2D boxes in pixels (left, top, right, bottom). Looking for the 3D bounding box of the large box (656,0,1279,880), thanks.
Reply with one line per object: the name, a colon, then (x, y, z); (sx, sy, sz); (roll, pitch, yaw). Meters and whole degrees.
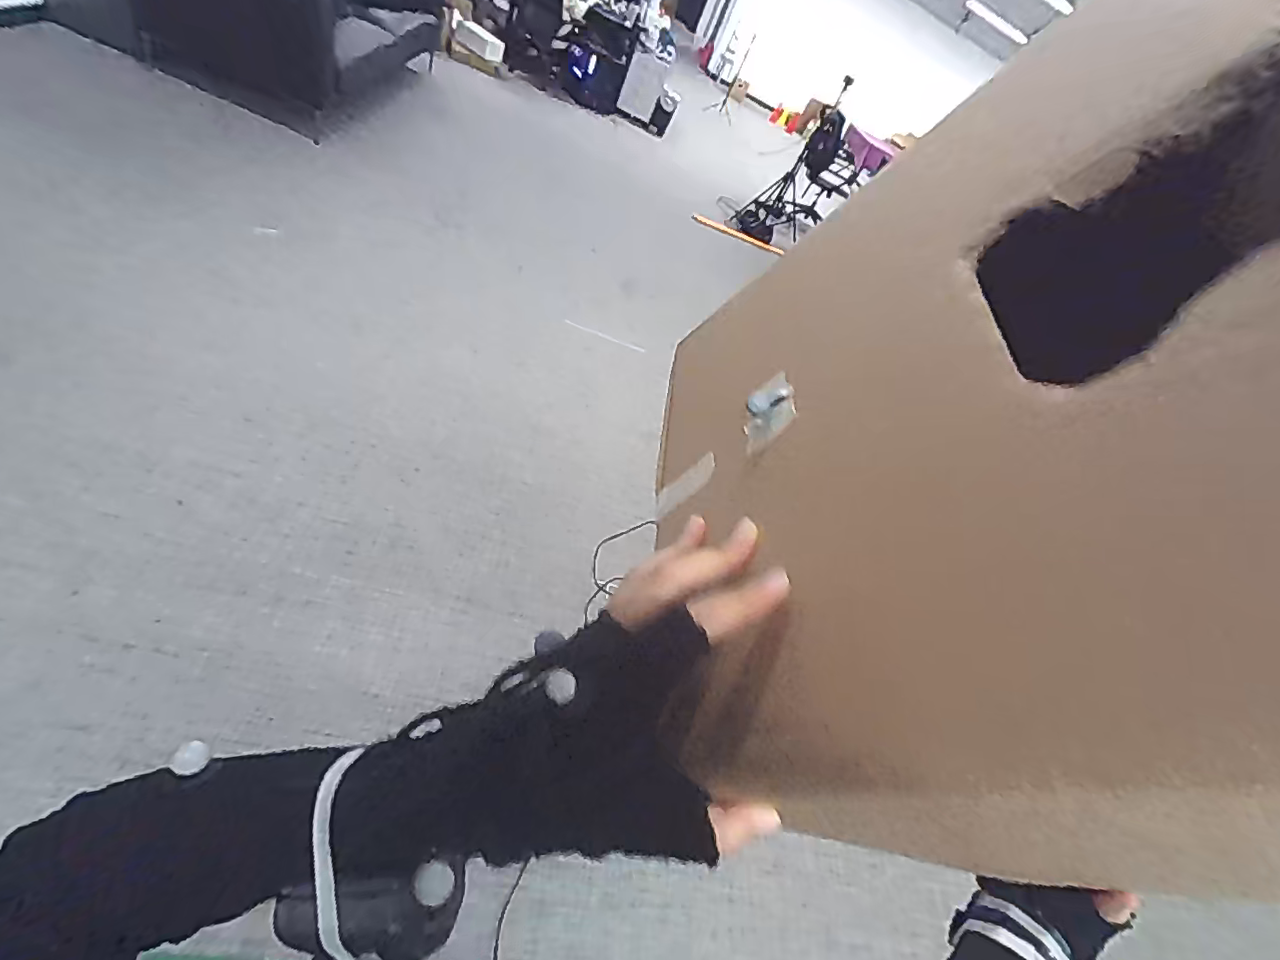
large box: (0.259, 0.044, 0.339); (0.408, 0.320, 0.320); (31, 48, -28)
